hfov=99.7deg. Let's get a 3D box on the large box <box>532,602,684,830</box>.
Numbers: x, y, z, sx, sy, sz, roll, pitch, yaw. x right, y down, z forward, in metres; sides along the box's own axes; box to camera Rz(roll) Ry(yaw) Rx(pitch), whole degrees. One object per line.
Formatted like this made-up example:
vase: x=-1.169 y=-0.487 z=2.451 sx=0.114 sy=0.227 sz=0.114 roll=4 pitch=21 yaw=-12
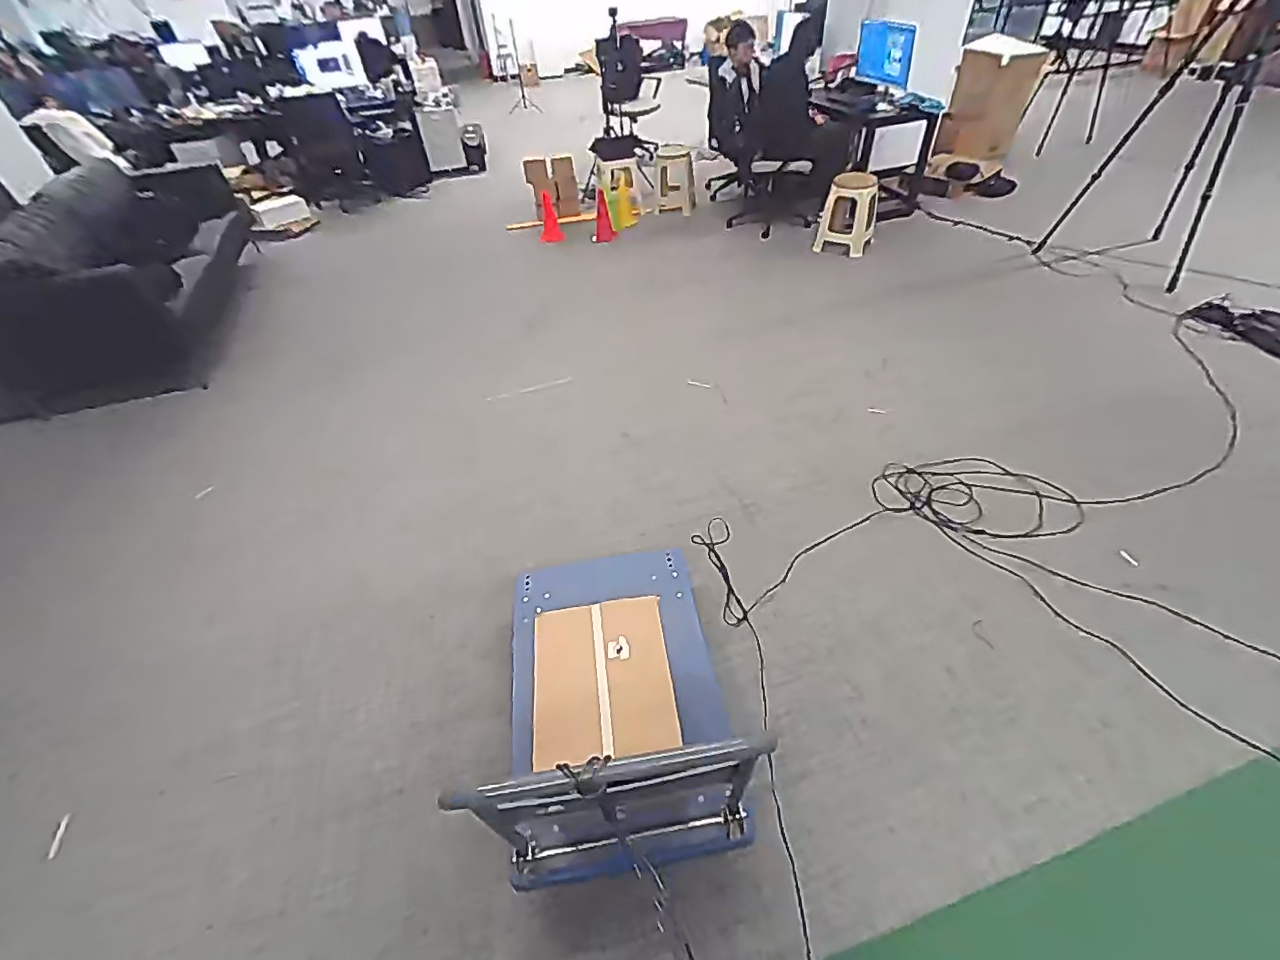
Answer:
large box: x=-0.080 y=0.574 z=1.335 sx=0.320 sy=0.320 sz=0.408 roll=-7 pitch=43 yaw=-3
